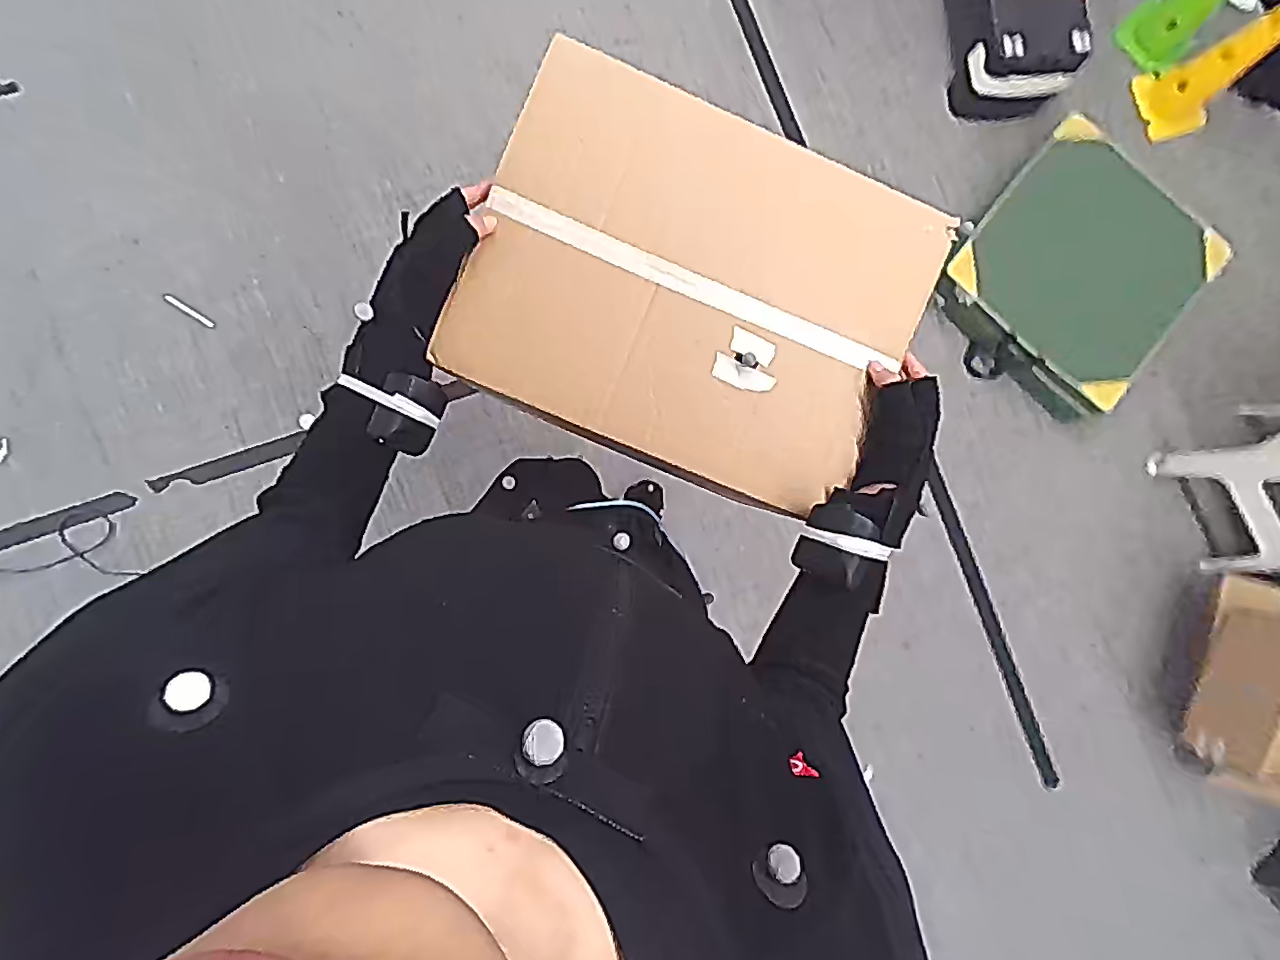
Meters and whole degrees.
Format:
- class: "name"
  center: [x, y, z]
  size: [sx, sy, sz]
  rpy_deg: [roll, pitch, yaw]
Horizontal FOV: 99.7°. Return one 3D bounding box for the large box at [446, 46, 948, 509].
- class: "large box"
  center: [0.048, -0.189, 0.653]
  size: [0.408, 0.320, 0.320]
  rpy_deg: [22, 92, -5]
